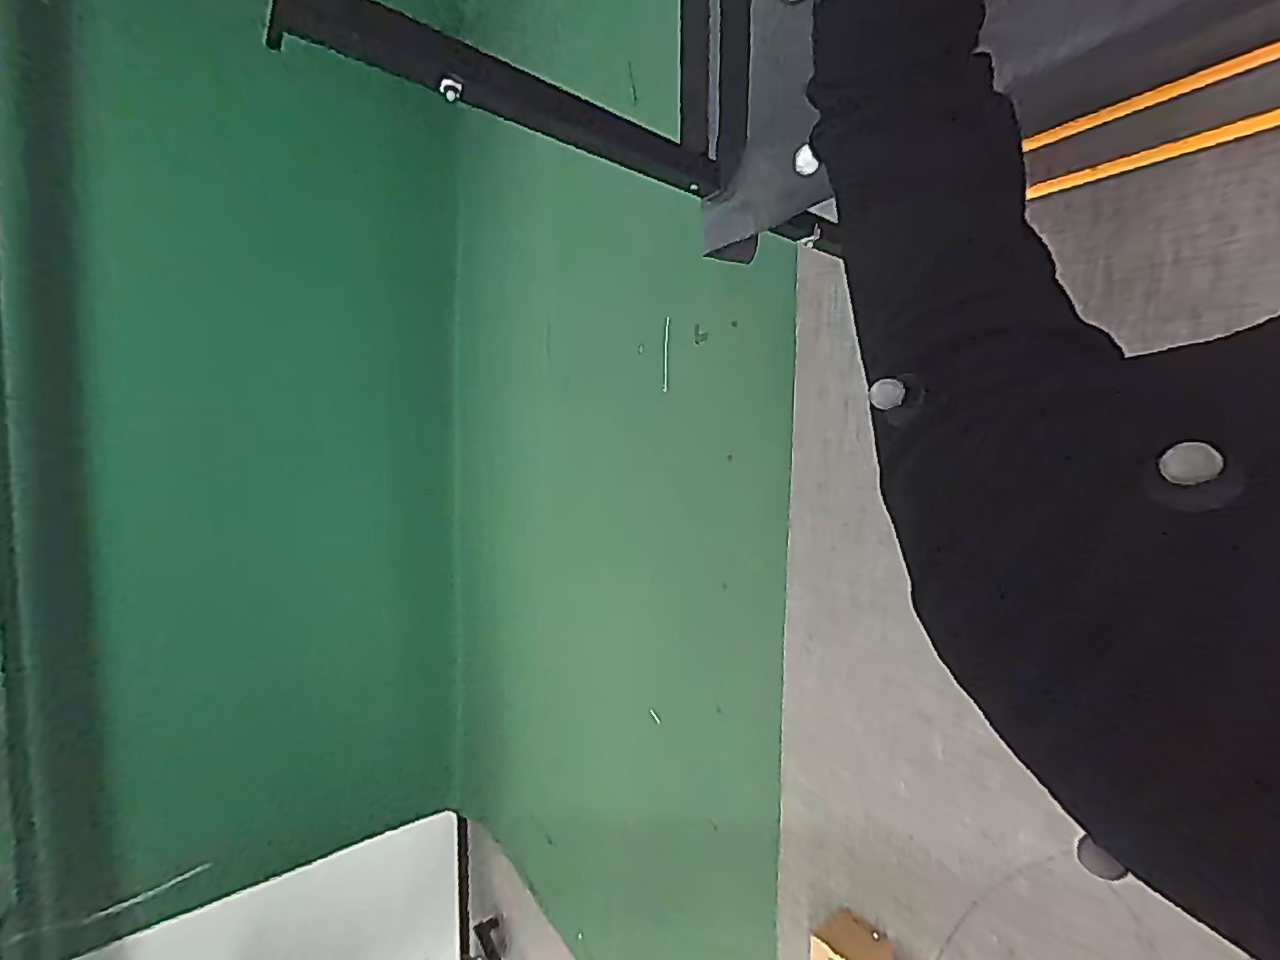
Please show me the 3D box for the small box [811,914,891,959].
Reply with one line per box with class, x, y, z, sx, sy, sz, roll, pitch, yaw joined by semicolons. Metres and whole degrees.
small box;0.627;1.452;1.603;0.168;0.176;0.179;3;94;52
